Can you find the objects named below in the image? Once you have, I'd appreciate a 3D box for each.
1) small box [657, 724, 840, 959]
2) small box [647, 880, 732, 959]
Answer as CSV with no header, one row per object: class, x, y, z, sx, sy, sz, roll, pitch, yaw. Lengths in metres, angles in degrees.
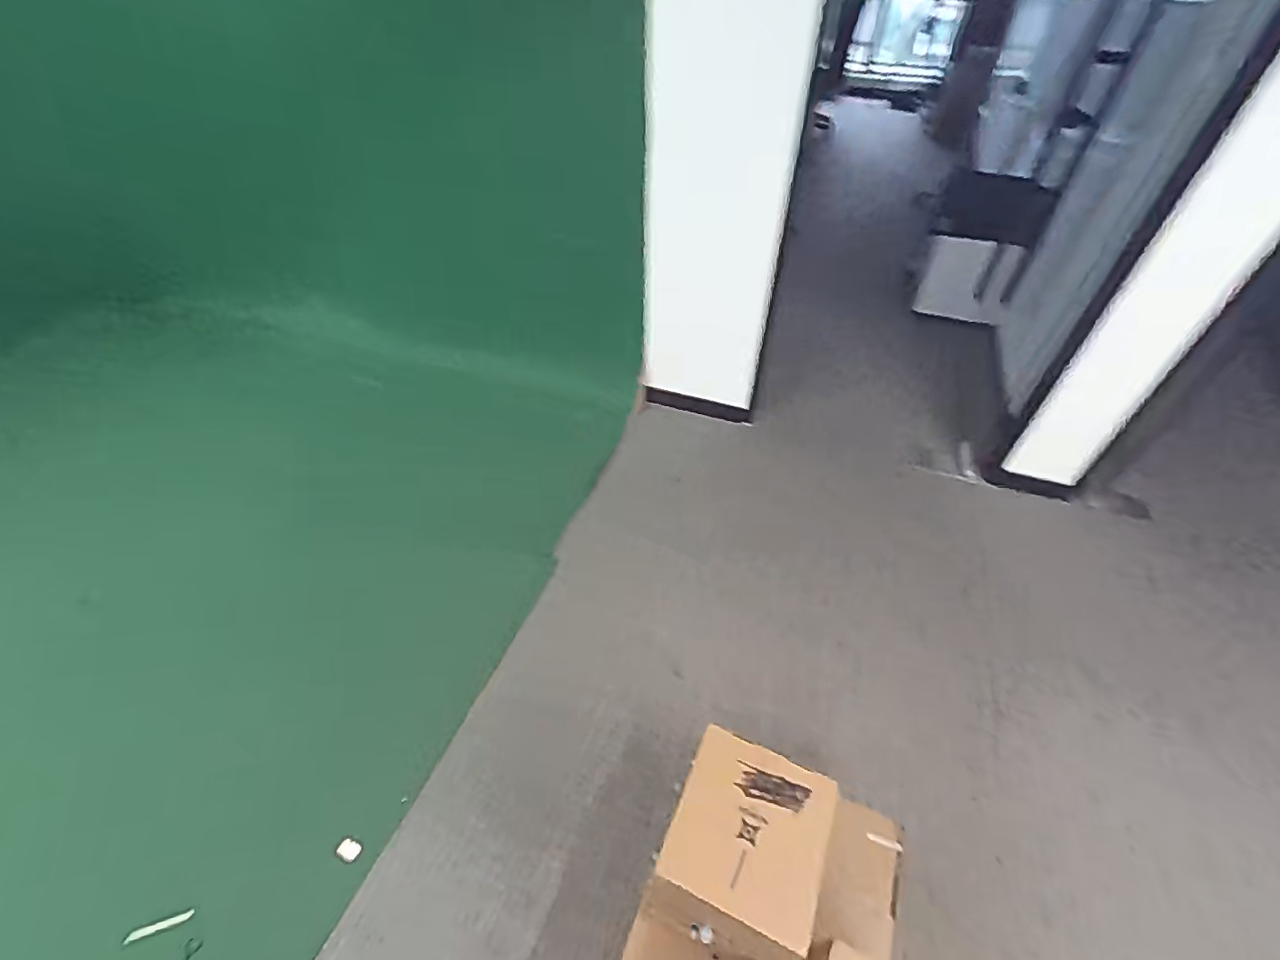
small box,0.124,0.443,0.659,0.168,0.176,0.179,19,48,18
small box,0.120,0.671,0.894,0.168,0.176,0.179,19,46,18
